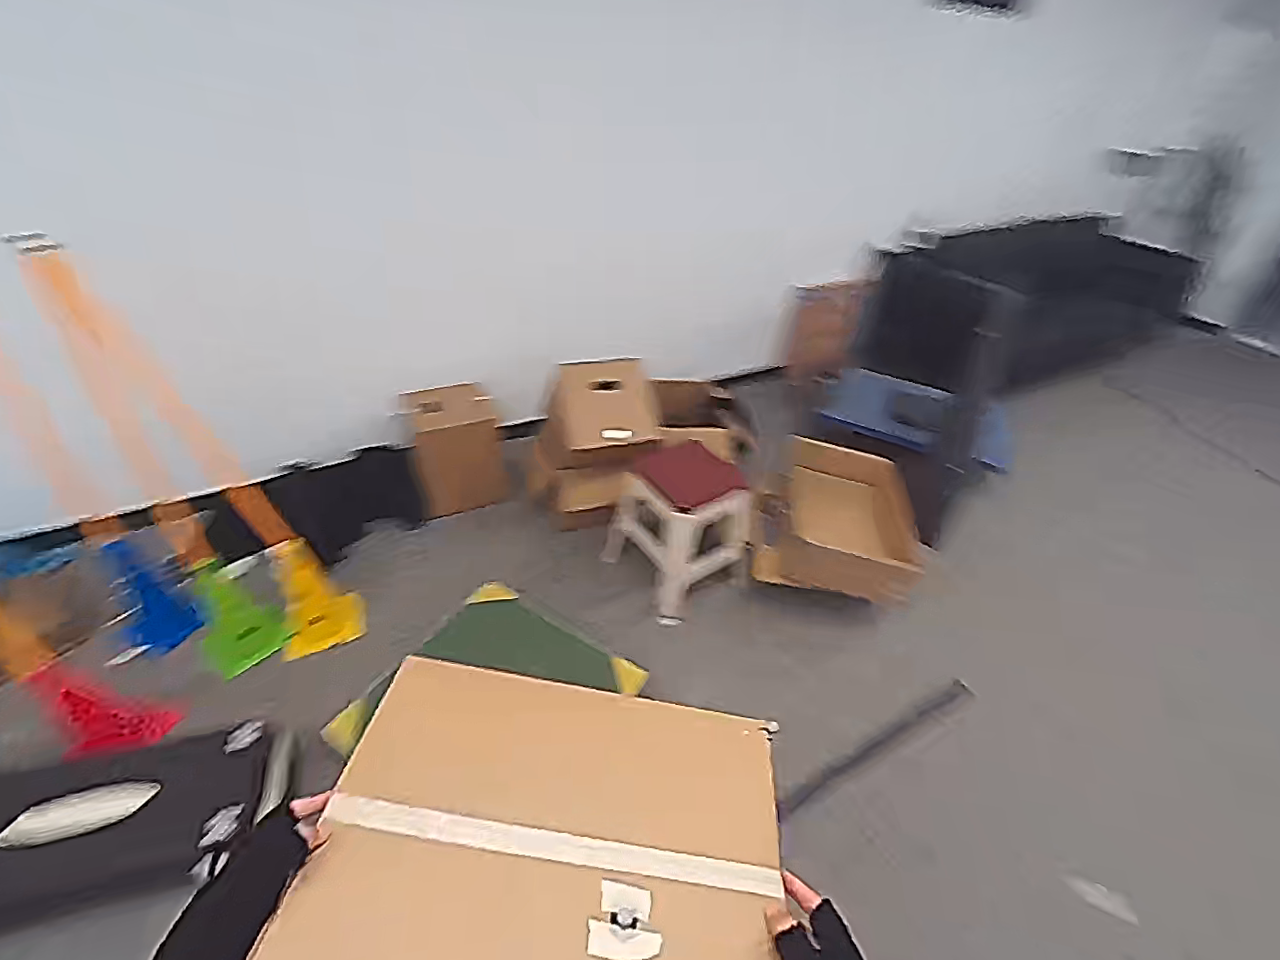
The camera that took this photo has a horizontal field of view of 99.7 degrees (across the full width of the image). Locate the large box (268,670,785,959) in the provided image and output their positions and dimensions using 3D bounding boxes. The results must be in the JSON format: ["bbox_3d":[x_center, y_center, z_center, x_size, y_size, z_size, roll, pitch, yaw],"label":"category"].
[{"bbox_3d":[-0.095,0.454,0.564,0.408,0.320,0.320,13,37,0],"label":"large box"}]
